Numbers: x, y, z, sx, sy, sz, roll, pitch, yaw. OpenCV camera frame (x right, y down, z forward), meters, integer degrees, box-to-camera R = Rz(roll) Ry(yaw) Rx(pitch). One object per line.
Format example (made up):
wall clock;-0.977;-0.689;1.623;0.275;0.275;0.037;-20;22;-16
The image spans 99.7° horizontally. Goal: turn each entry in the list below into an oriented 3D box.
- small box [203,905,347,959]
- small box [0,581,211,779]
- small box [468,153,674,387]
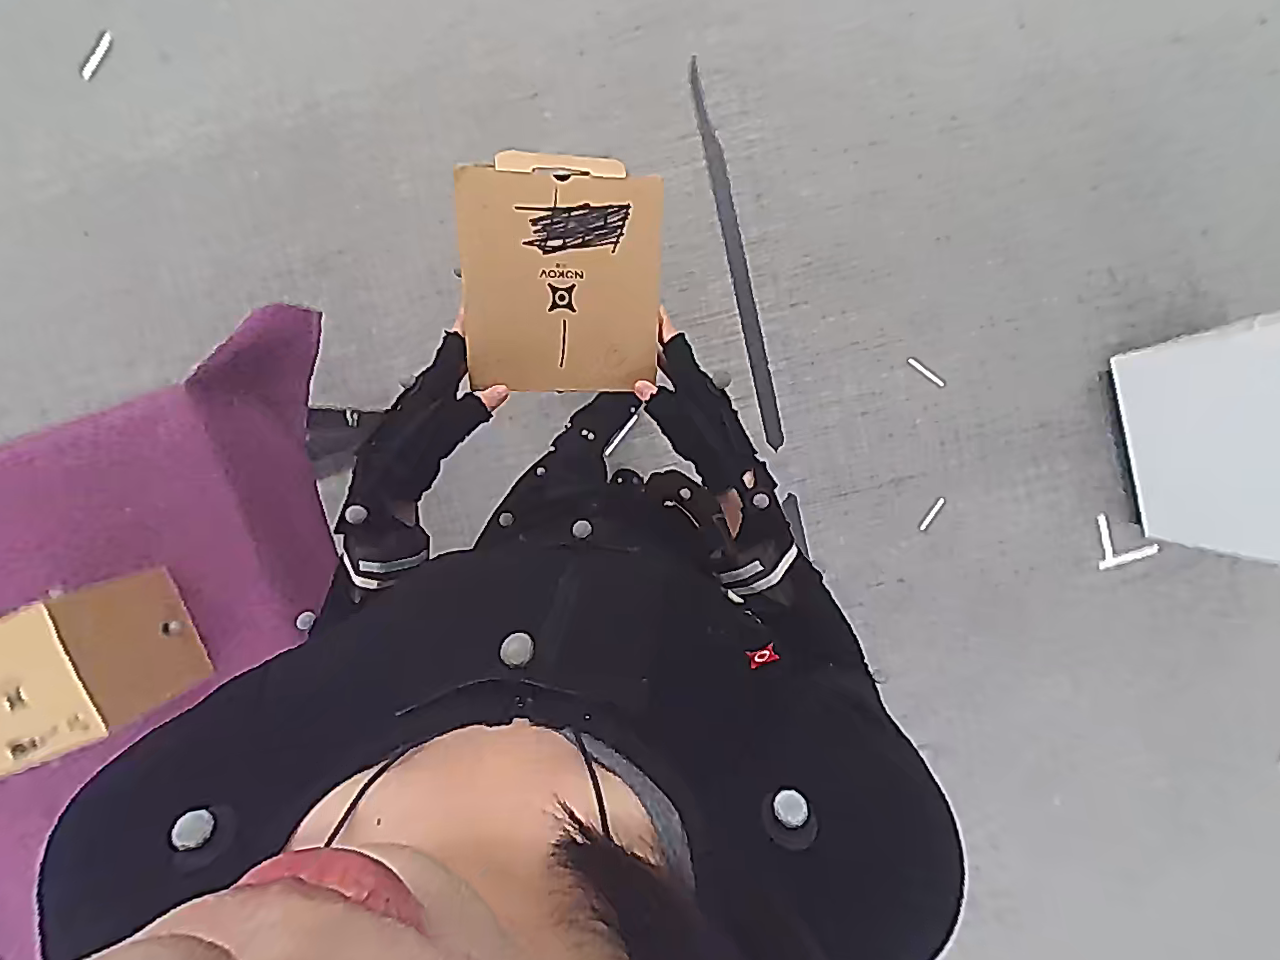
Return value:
small box;-0.538;0.752;0.750;0.179;0.176;0.168;-20;96;0
small box;-0.726;0.245;0.706;0.168;0.176;0.179;-21;94;1
small box;-0.067;-0.189;0.523;0.168;0.176;0.179;0;107;-7
